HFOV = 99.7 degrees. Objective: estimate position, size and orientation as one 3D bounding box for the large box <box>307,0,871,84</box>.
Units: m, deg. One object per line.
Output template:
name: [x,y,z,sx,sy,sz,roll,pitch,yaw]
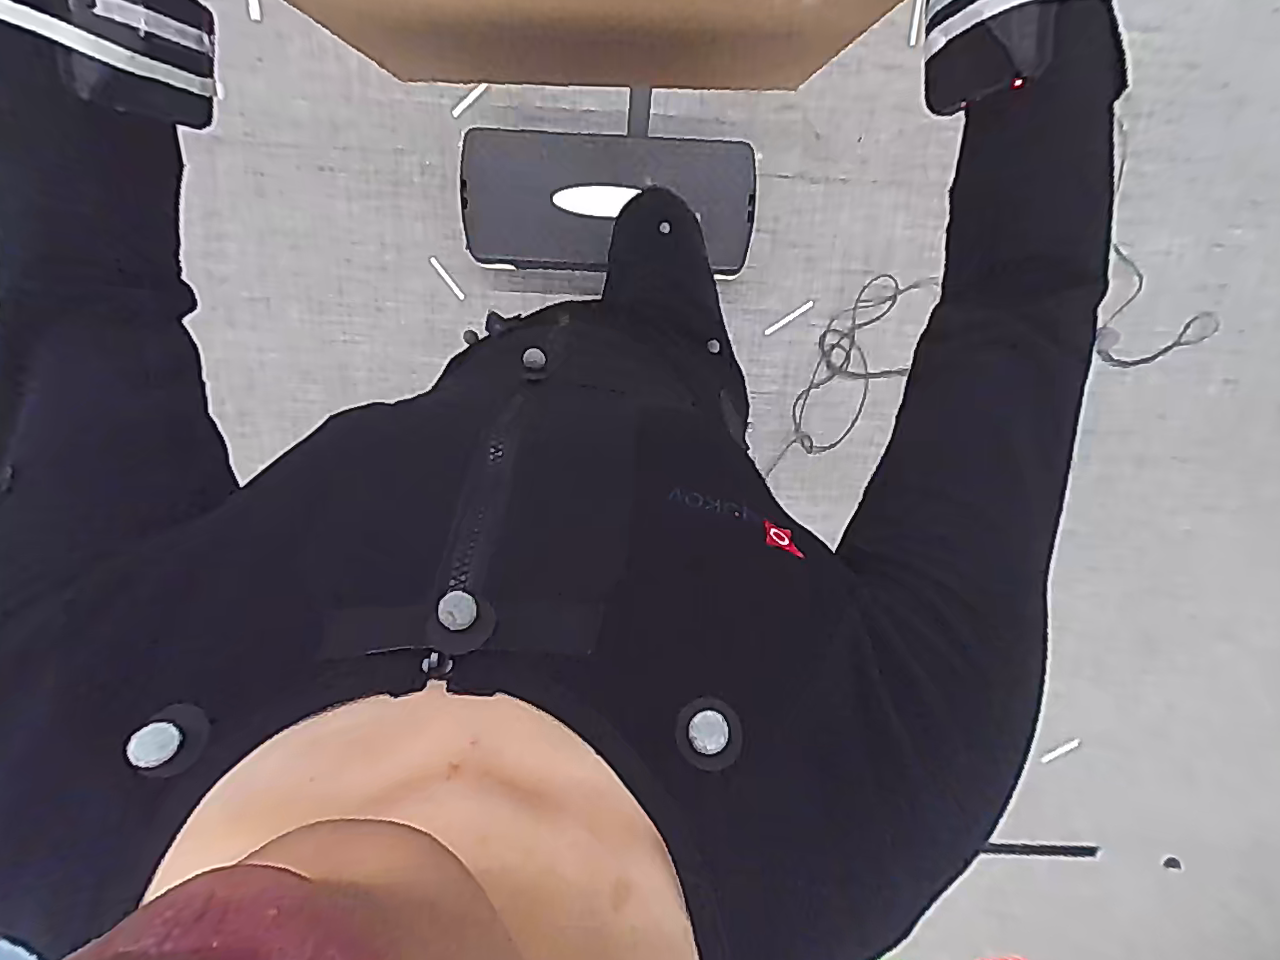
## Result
large box: [-0.036,-0.483,0.350,0.408,0.320,0.320,-1,115,-2]
